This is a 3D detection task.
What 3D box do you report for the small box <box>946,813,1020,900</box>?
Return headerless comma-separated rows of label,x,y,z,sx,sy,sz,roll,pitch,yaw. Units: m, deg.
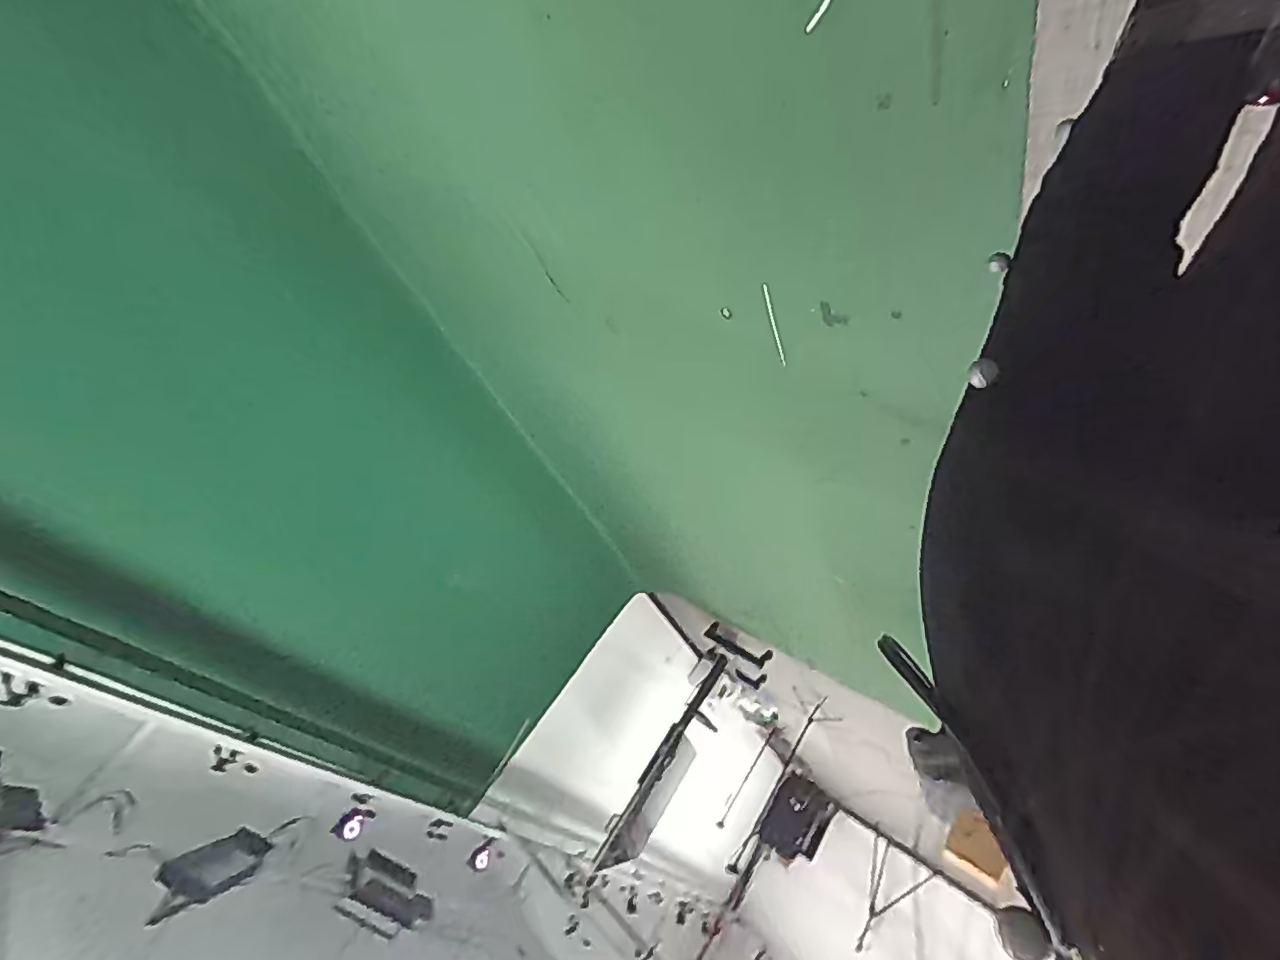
small box,1.160,1.265,1.826,0.168,0.176,0.179,18,153,45
